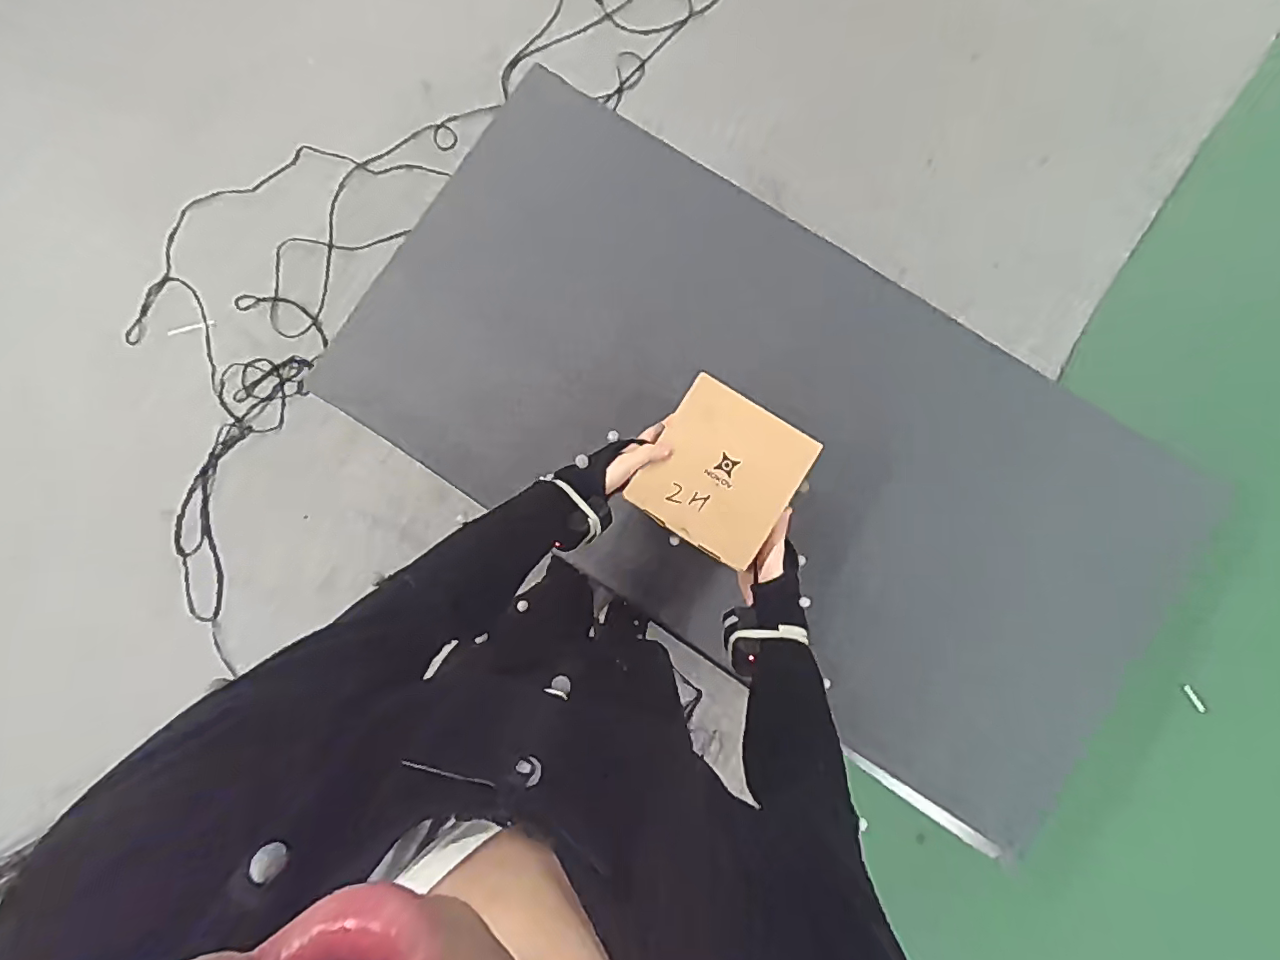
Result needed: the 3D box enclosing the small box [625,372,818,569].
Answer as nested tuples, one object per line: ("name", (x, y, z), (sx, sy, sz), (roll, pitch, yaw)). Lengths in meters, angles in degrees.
("small box", (0.095, -0.006, 0.702), (0.168, 0.176, 0.179), (33, 87, 5))
